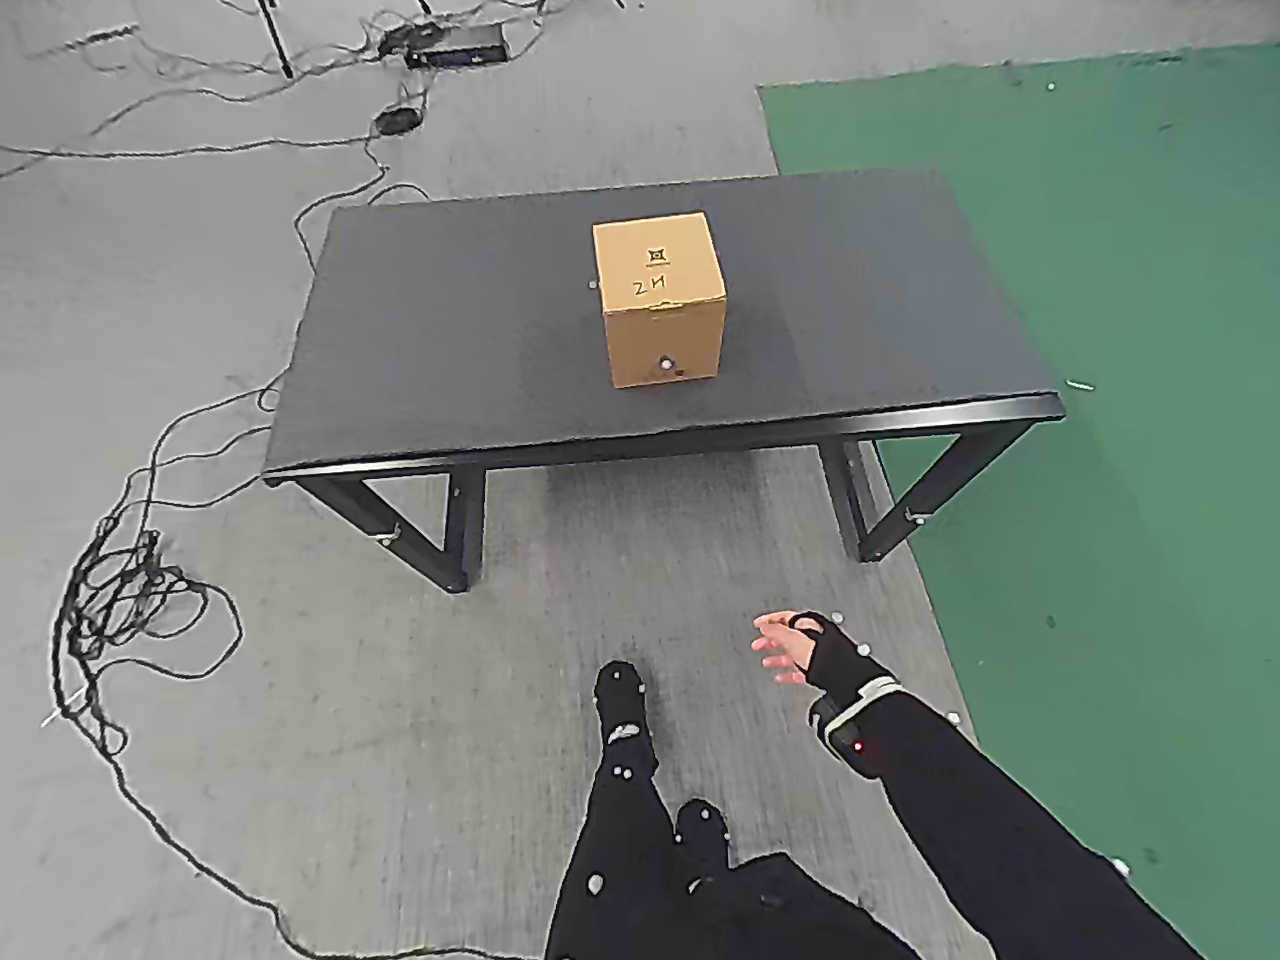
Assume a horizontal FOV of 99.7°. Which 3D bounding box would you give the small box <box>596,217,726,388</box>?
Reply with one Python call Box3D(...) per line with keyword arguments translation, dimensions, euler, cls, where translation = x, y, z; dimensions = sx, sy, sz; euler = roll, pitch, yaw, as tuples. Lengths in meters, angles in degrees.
Box3D(translation=(0.027, -0.265, 0.822), dimensions=(0.168, 0.176, 0.179), euler=(-7, 62, -1), cls="small box")
